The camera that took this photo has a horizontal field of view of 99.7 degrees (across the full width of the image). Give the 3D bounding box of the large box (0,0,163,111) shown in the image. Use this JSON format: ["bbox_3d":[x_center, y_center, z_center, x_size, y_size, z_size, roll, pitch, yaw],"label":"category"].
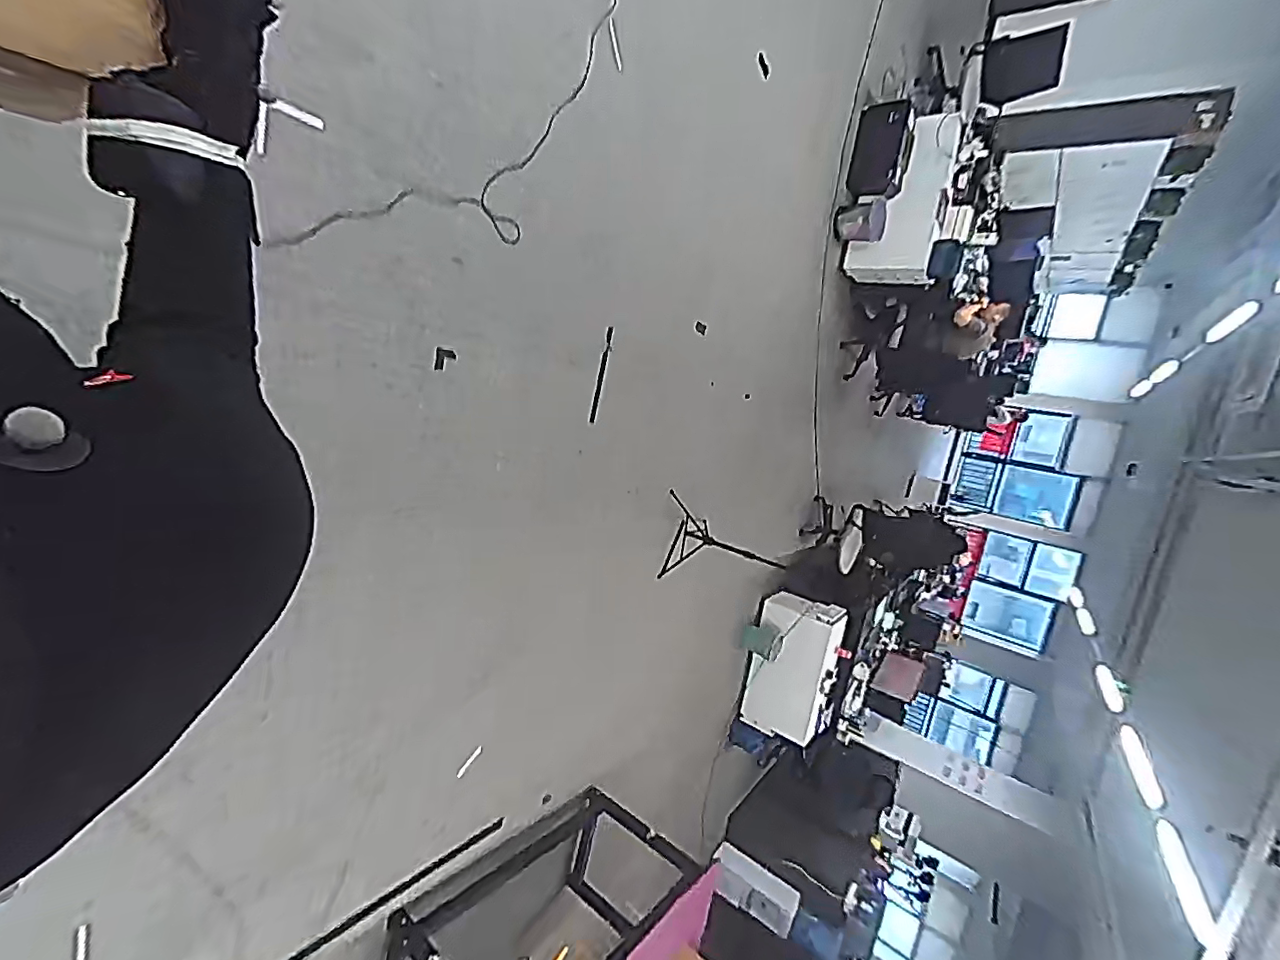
[{"bbox_3d":[-0.532,-0.426,0.243,0.408,0.320,0.320,-12,118,-55],"label":"large box"}]
